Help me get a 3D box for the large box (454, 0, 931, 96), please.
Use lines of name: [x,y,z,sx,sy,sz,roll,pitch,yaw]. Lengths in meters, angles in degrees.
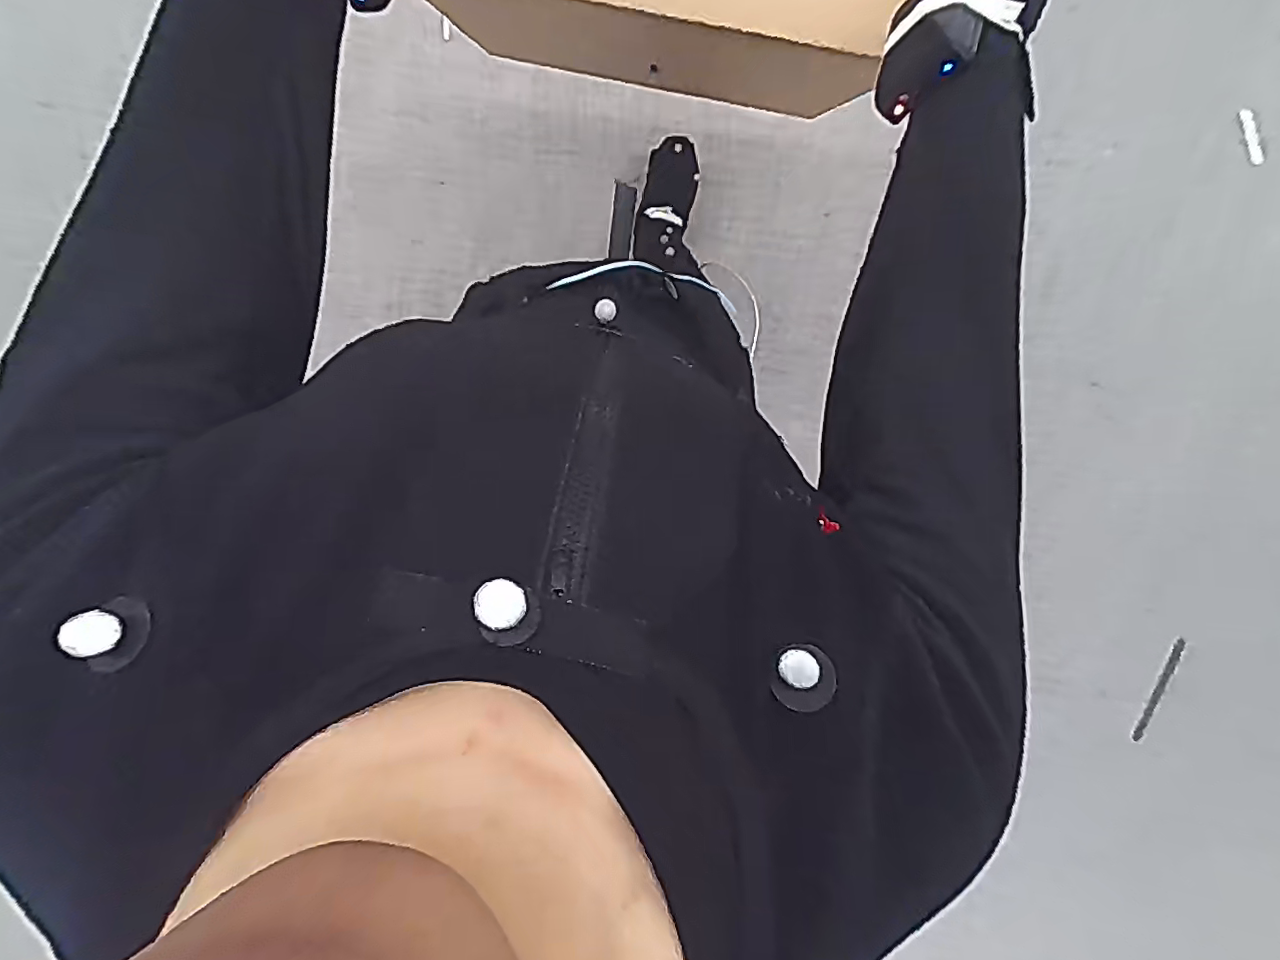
large box: [0.042,-0.556,0.454,0.408,0.320,0.320,9,117,-2]
